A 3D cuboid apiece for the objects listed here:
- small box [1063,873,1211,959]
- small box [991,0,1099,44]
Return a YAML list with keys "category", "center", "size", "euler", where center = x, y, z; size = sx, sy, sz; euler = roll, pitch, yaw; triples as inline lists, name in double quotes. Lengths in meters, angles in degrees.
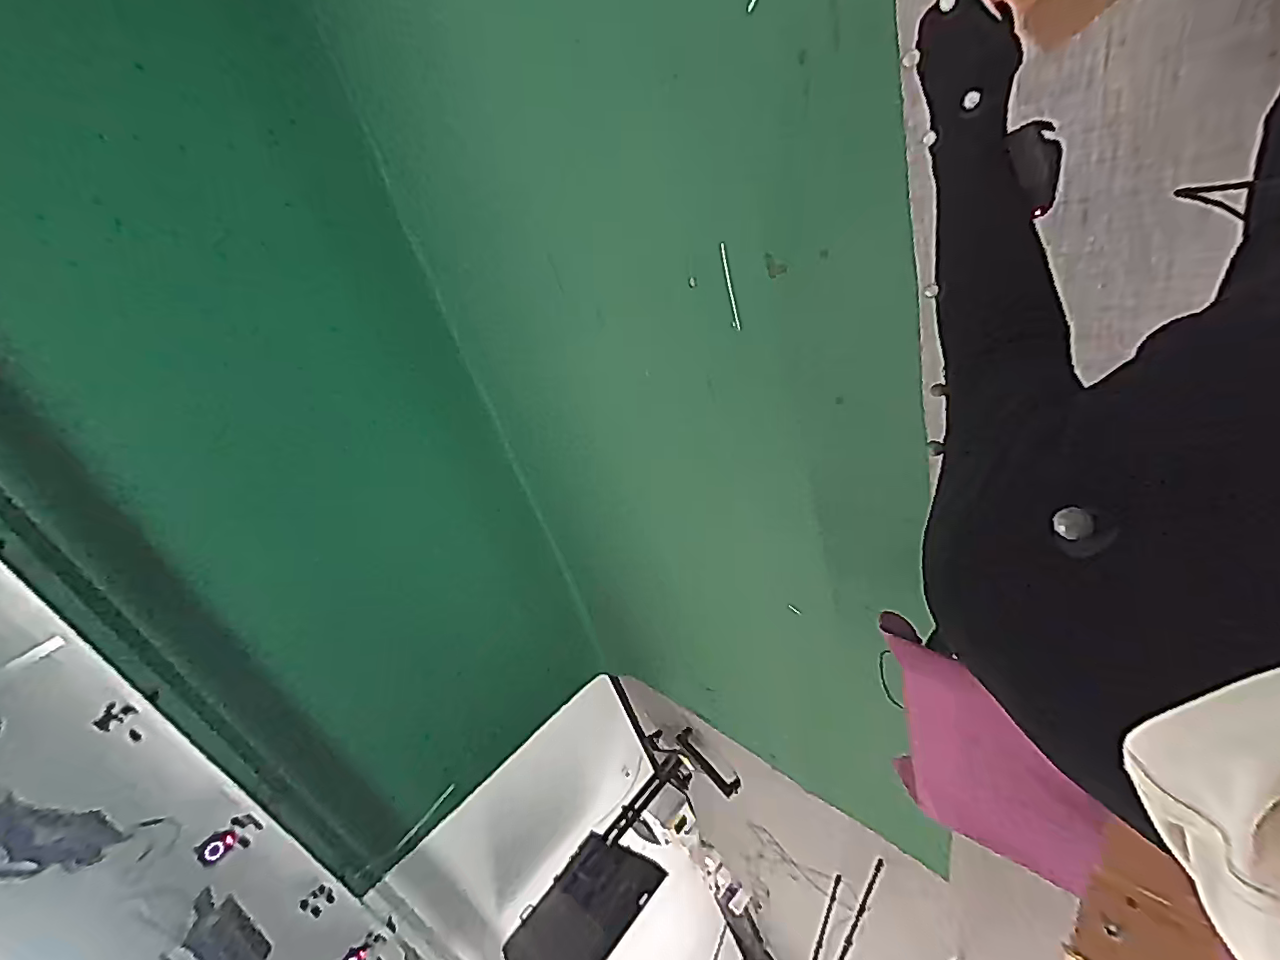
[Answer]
- category: "small box"
  center: [0.844, 0.834, 0.927]
  size: [0.168, 0.176, 0.179]
  euler: [12, 131, 48]
- category: "small box"
  center: [0.382, -0.535, 0.470]
  size: [0.179, 0.176, 0.168]
  euler: [-35, 82, 47]
